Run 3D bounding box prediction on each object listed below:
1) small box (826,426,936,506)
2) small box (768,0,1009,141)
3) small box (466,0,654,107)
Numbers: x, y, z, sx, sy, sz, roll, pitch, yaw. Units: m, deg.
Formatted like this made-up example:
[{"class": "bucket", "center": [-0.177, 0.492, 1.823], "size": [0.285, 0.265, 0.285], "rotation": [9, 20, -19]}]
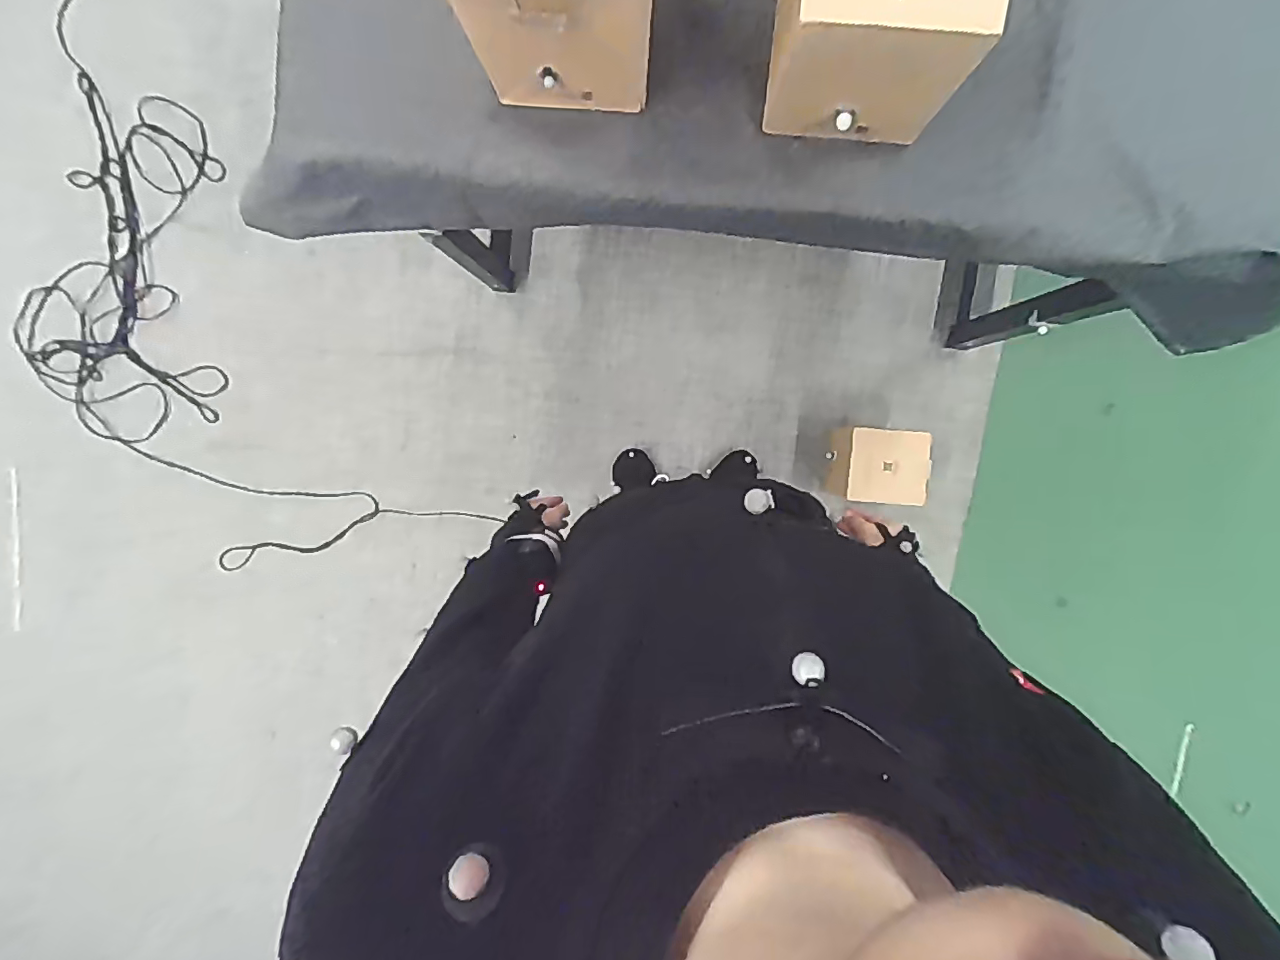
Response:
[{"class": "small box", "center": [0.556, -0.039, 1.265], "size": [0.179, 0.176, 0.168], "rotation": [5, 95, 3]}, {"class": "small box", "center": [0.223, -0.460, 0.507], "size": [0.168, 0.176, 0.179], "rotation": [6, 96, 3]}, {"class": "small box", "center": [-0.073, -0.504, 0.521], "size": [0.168, 0.176, 0.179], "rotation": [5, 96, 2]}]
